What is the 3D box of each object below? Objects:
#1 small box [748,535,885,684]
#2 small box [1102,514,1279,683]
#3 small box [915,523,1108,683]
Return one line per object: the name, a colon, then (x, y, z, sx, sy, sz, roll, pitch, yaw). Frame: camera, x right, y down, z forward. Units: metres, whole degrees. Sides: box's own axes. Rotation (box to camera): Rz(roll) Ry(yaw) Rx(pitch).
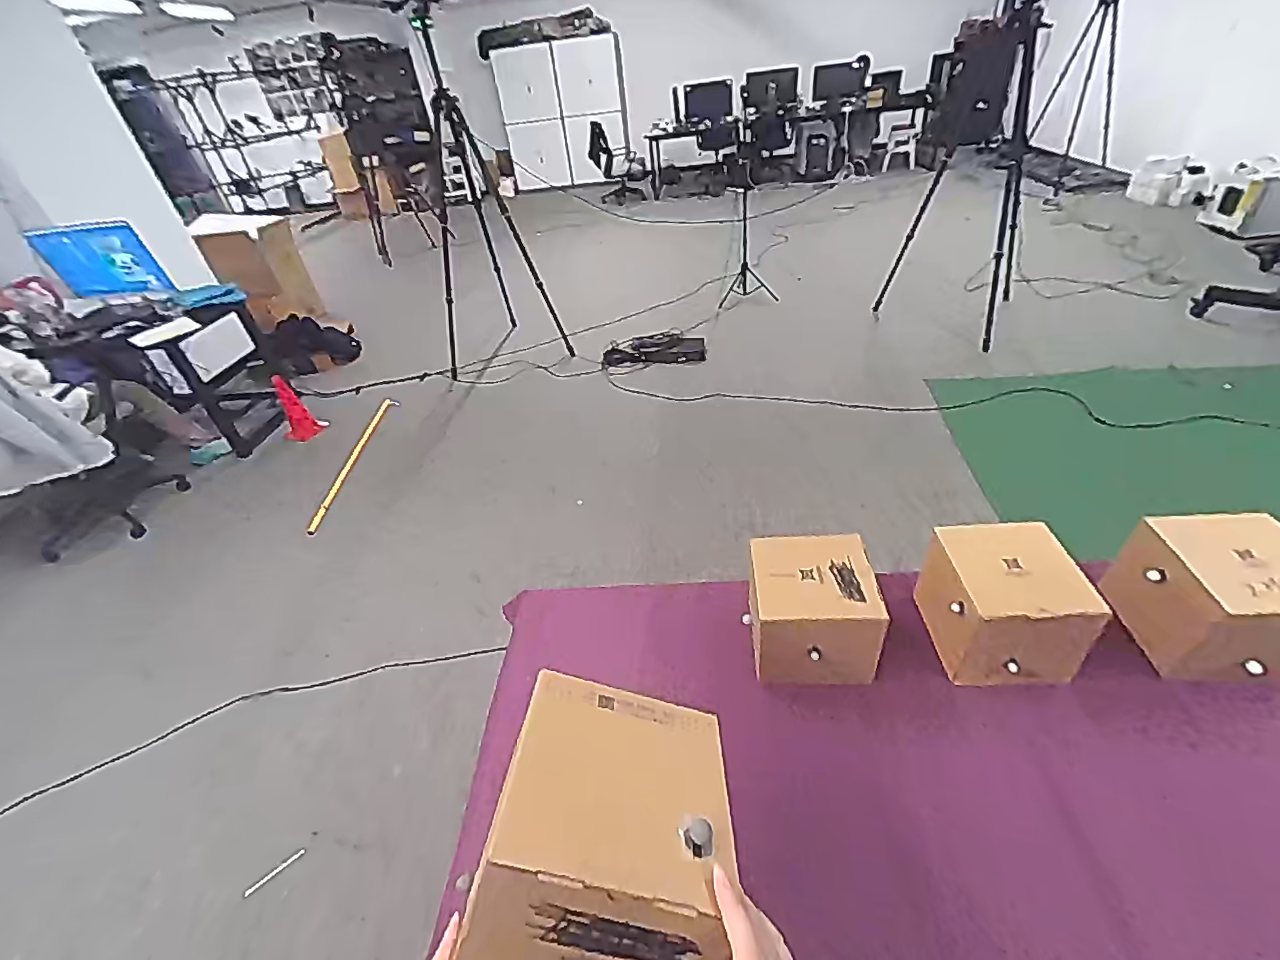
small box: (0.265, 0.206, 0.857, 0.179, 0.176, 0.168, -3, 38, 9)
small box: (0.830, 0.170, 0.784, 0.168, 0.176, 0.179, -3, 41, 9)
small box: (0.545, 0.187, 0.828, 0.168, 0.176, 0.179, -4, 39, 7)
